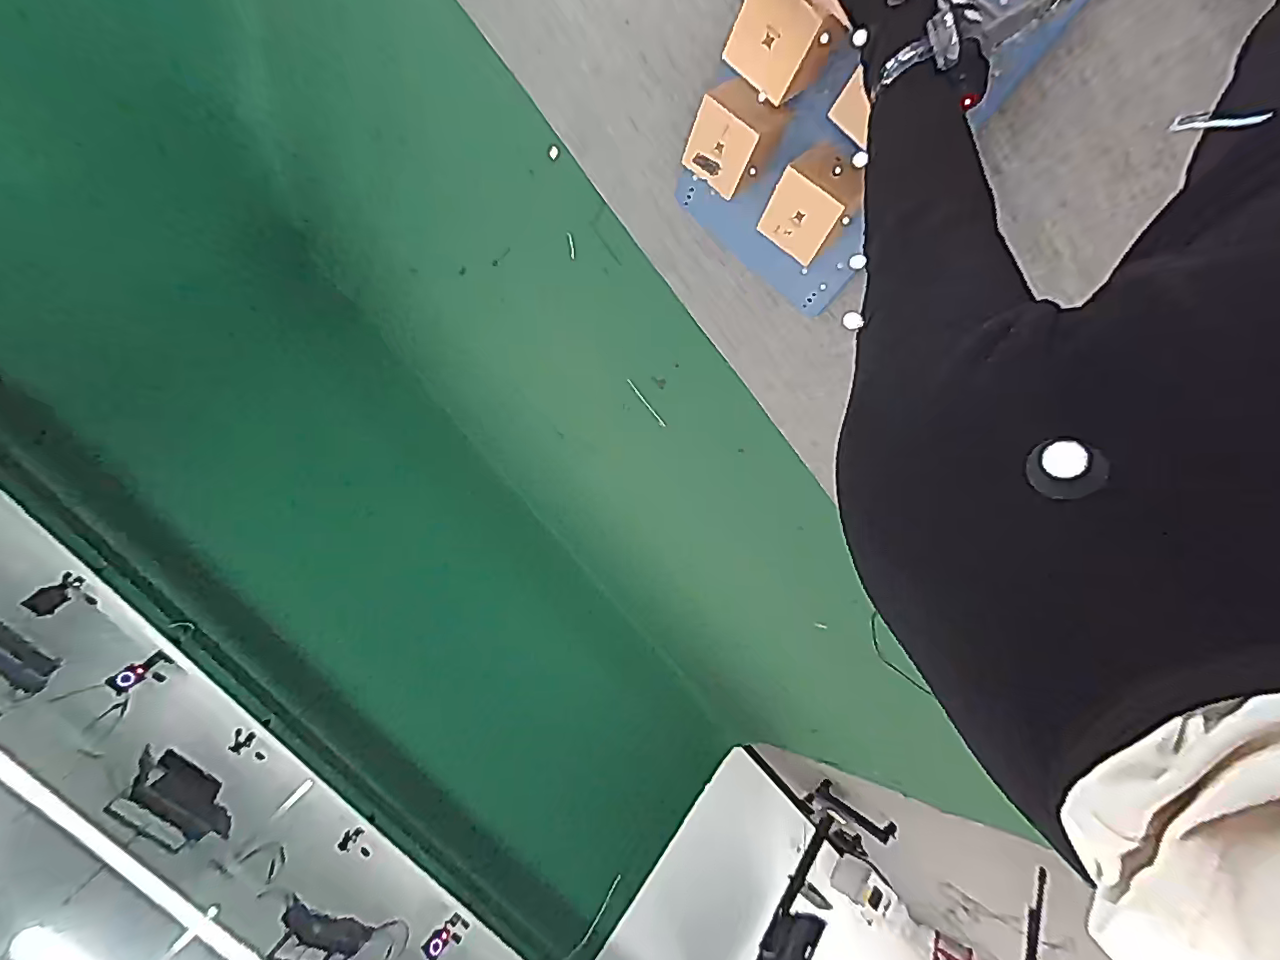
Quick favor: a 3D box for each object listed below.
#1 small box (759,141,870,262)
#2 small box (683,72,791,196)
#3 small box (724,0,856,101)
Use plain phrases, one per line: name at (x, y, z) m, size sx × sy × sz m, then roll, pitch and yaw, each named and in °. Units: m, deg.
small box at (0.429, -0.681, 1.317) m, size 0.168 × 0.176 × 0.179 m, roll 42°, pitch 152°, yaw 7°
small box at (0.240, -0.854, 1.334) m, size 0.168 × 0.176 × 0.179 m, roll 41°, pitch 151°, yaw 5°
small box at (0.312, -0.945, 1.119) m, size 0.168 × 0.176 × 0.179 m, roll 43°, pitch 152°, yaw 2°
